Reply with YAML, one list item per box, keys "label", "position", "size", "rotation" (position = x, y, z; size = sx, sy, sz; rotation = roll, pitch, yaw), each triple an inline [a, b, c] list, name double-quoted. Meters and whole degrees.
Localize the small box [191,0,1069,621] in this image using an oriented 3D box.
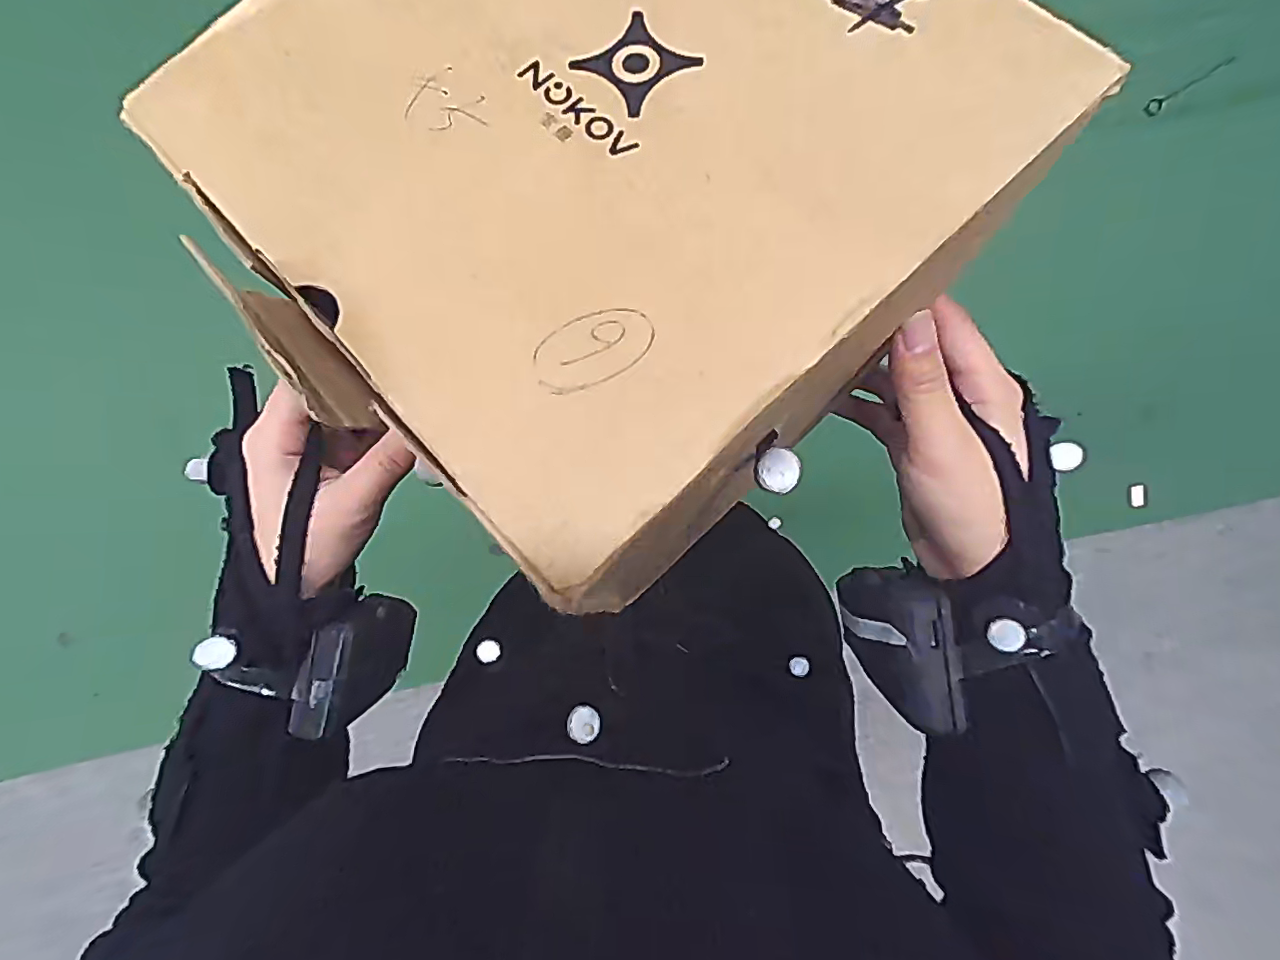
- label: "small box"
  position: [-0.003, -0.062, 0.219]
  size: [0.179, 0.176, 0.168]
  rotation: [-43, 78, -8]
